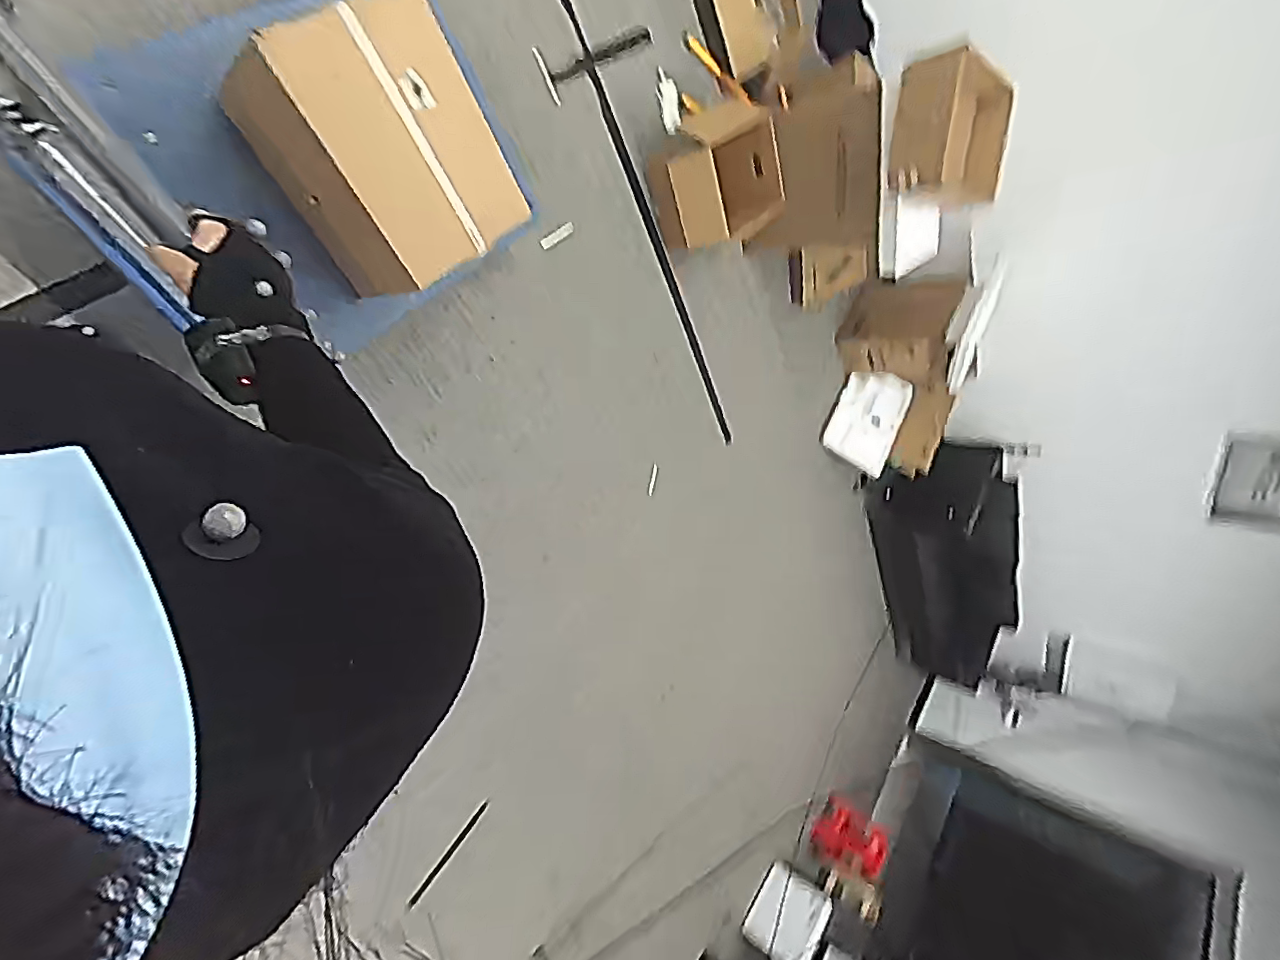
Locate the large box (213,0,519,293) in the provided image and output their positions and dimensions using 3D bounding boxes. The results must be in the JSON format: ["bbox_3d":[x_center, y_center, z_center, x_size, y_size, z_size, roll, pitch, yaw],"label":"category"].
[{"bbox_3d":[-0.527,-0.640,1.078,0.320,0.320,0.408,-49,130,-27],"label":"large box"}]
